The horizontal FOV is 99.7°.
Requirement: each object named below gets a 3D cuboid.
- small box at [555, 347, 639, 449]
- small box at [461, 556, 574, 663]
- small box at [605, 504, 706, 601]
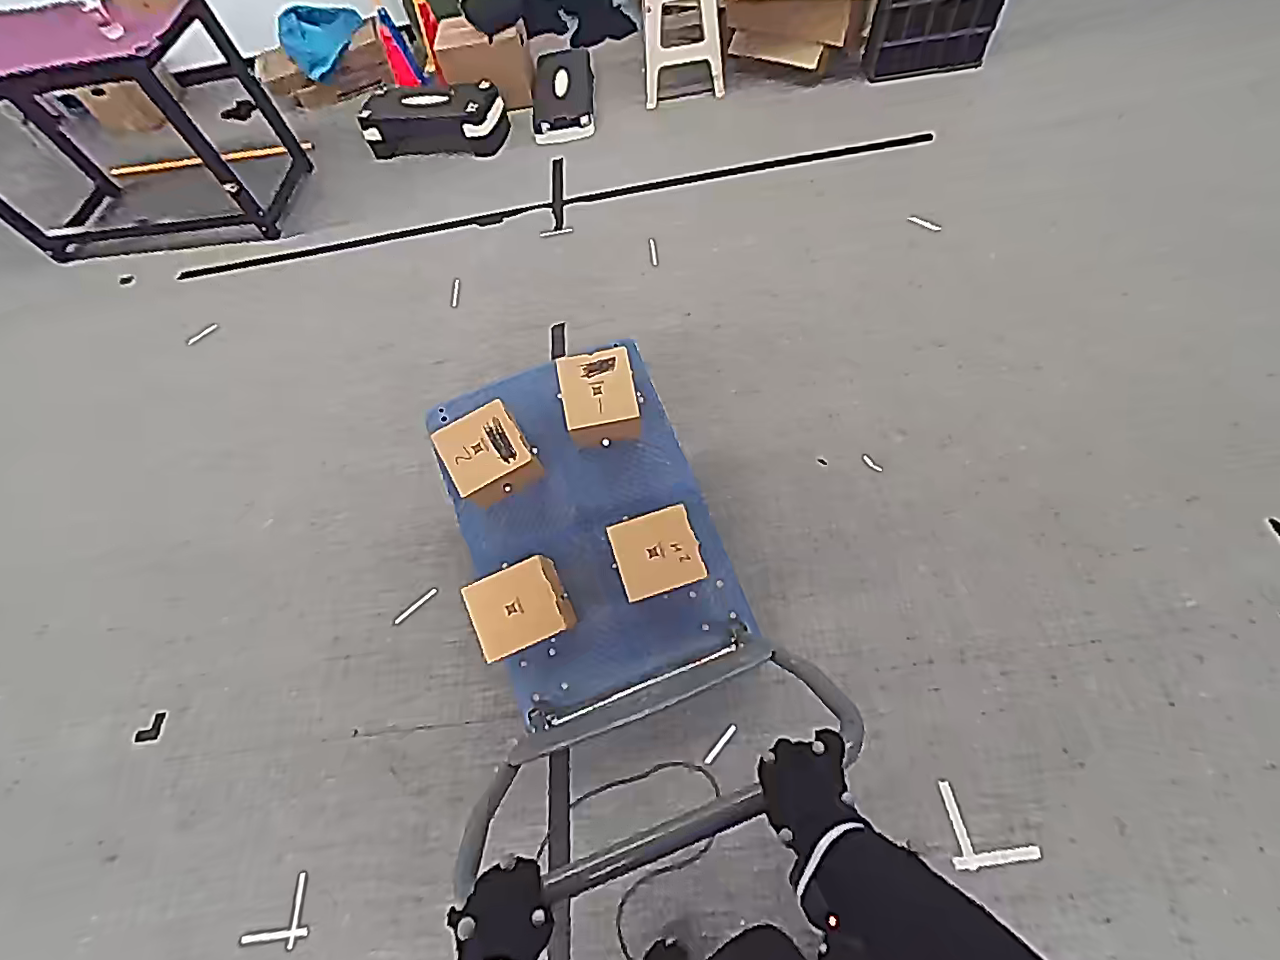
[{"bbox_3d":[-0.099,-0.190,1.290,0.168,0.176,0.179,-11,78,-2],"label":"small box"},{"bbox_3d":[-0.260,0.284,1.186,0.179,0.176,0.168,-24,78,-6],"label":"small box"},{"bbox_3d":[0.034,0.168,1.208,0.179,0.176,0.168,-18,78,-3],"label":"small box"}]
